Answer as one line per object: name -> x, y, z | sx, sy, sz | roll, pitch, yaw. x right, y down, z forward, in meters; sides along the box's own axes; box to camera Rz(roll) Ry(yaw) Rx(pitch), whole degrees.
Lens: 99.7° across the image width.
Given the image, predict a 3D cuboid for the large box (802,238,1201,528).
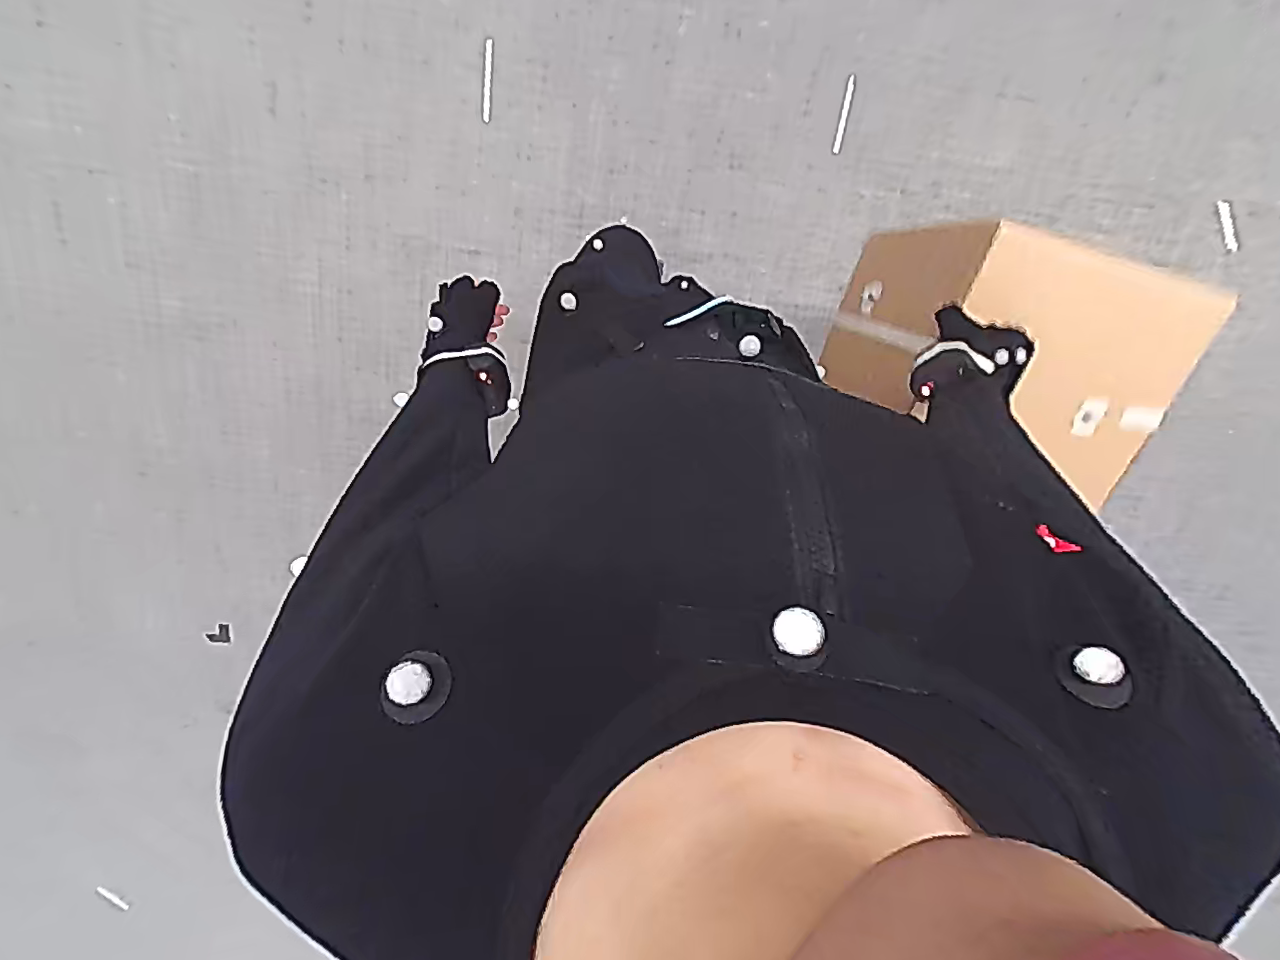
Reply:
large box -> 0.515, -0.172, 0.882 | 0.320, 0.408, 0.320 | 19, 111, -5
